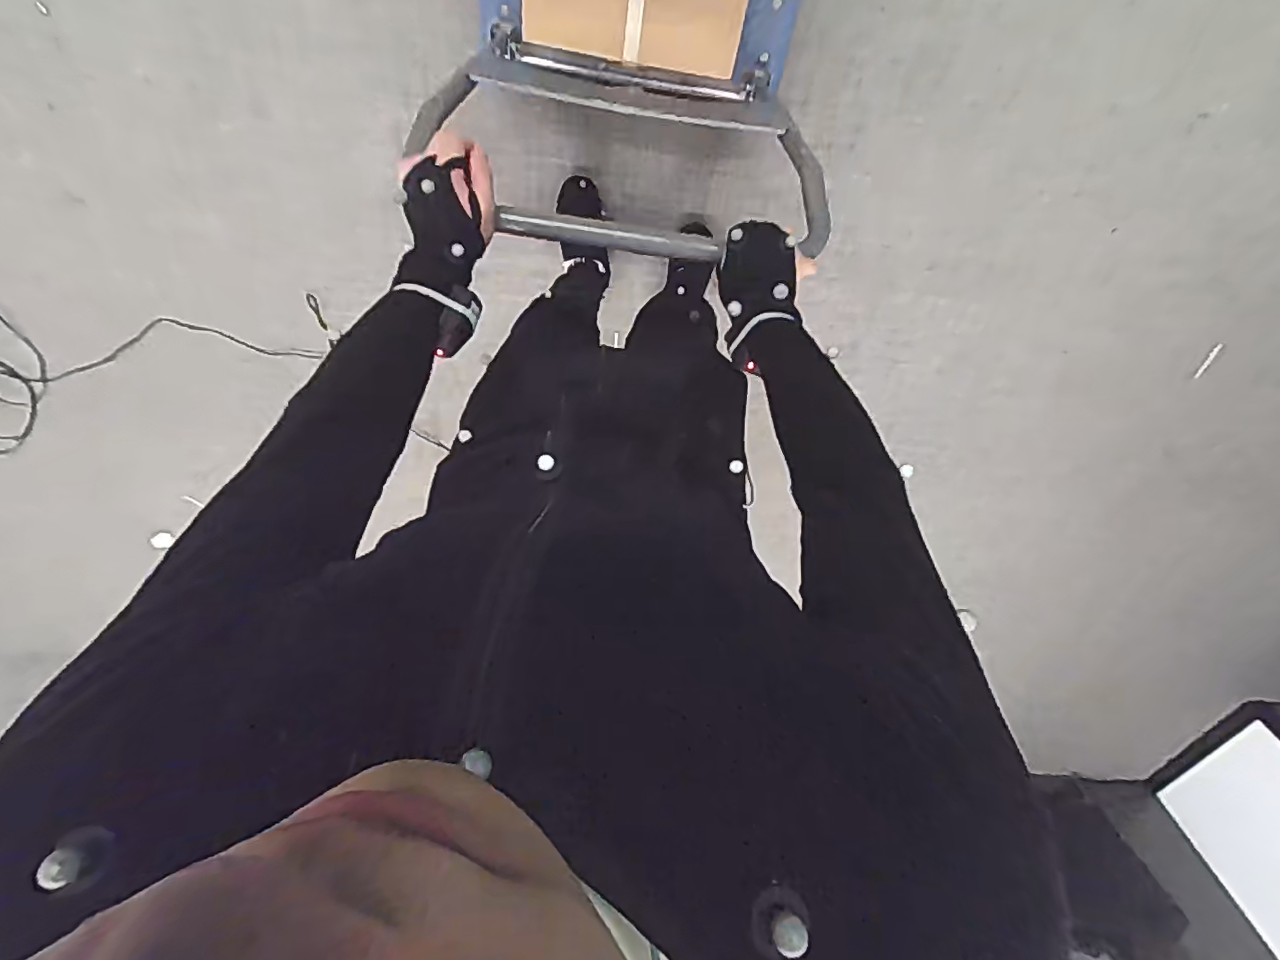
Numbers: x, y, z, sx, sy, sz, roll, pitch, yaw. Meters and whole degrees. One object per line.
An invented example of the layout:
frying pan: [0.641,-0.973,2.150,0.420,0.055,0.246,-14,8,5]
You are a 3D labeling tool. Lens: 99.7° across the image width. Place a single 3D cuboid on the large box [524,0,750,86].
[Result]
large box: [0.015,-0.851,0.778,0.320,0.320,0.408,7,132,-6]
